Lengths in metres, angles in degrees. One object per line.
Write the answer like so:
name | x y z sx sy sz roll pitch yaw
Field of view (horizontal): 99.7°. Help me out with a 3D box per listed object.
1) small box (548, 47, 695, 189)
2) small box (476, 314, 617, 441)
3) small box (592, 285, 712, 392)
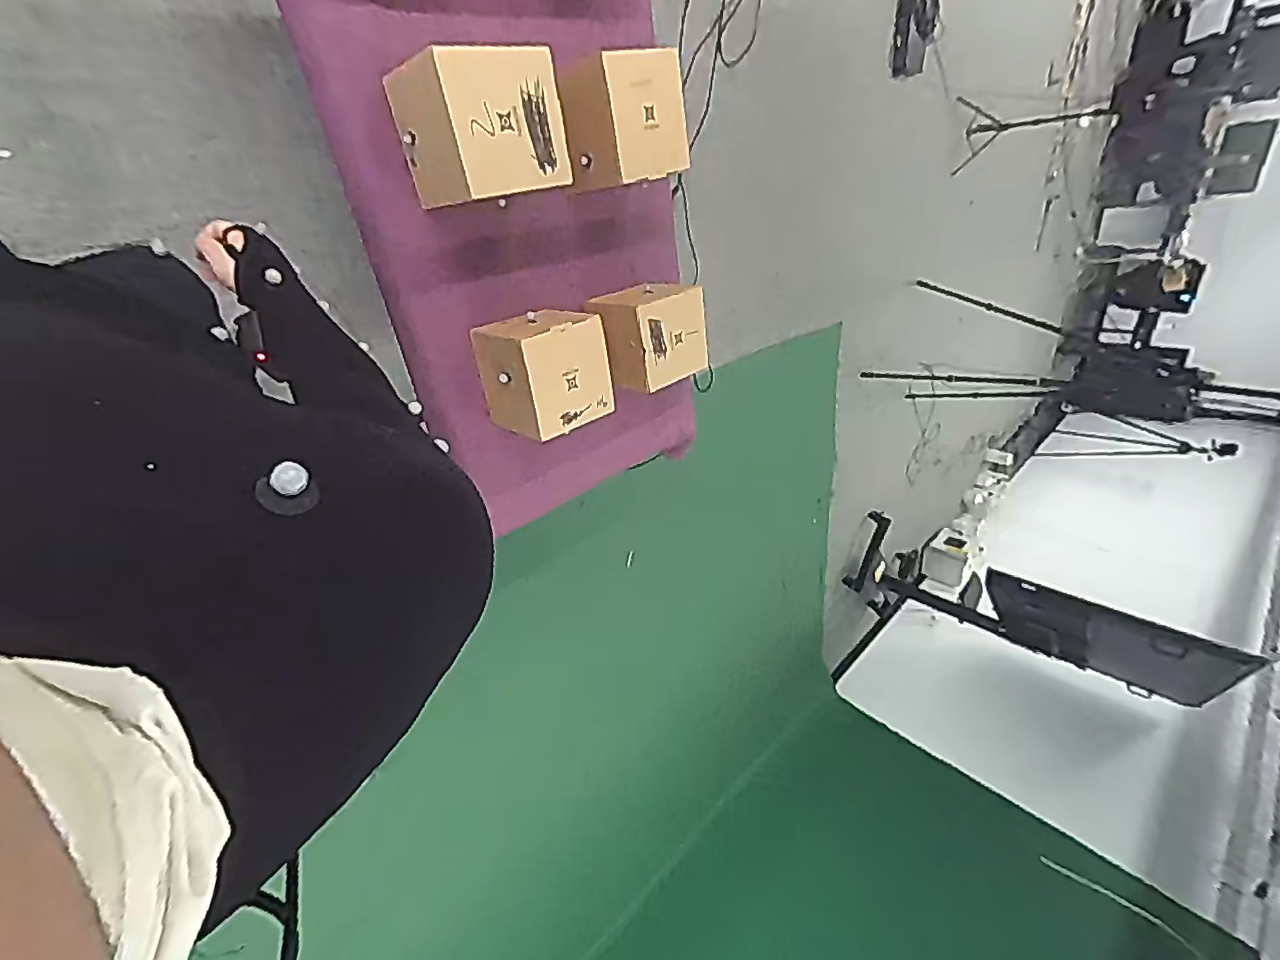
small box | -0.030 -0.600 0.911 0.168 0.176 0.179 -31 125 -32
small box | -0.164 -0.189 0.947 0.168 0.176 0.179 -28 123 -34
small box | 0.020 -0.290 1.085 0.179 0.176 0.168 -29 125 -33
